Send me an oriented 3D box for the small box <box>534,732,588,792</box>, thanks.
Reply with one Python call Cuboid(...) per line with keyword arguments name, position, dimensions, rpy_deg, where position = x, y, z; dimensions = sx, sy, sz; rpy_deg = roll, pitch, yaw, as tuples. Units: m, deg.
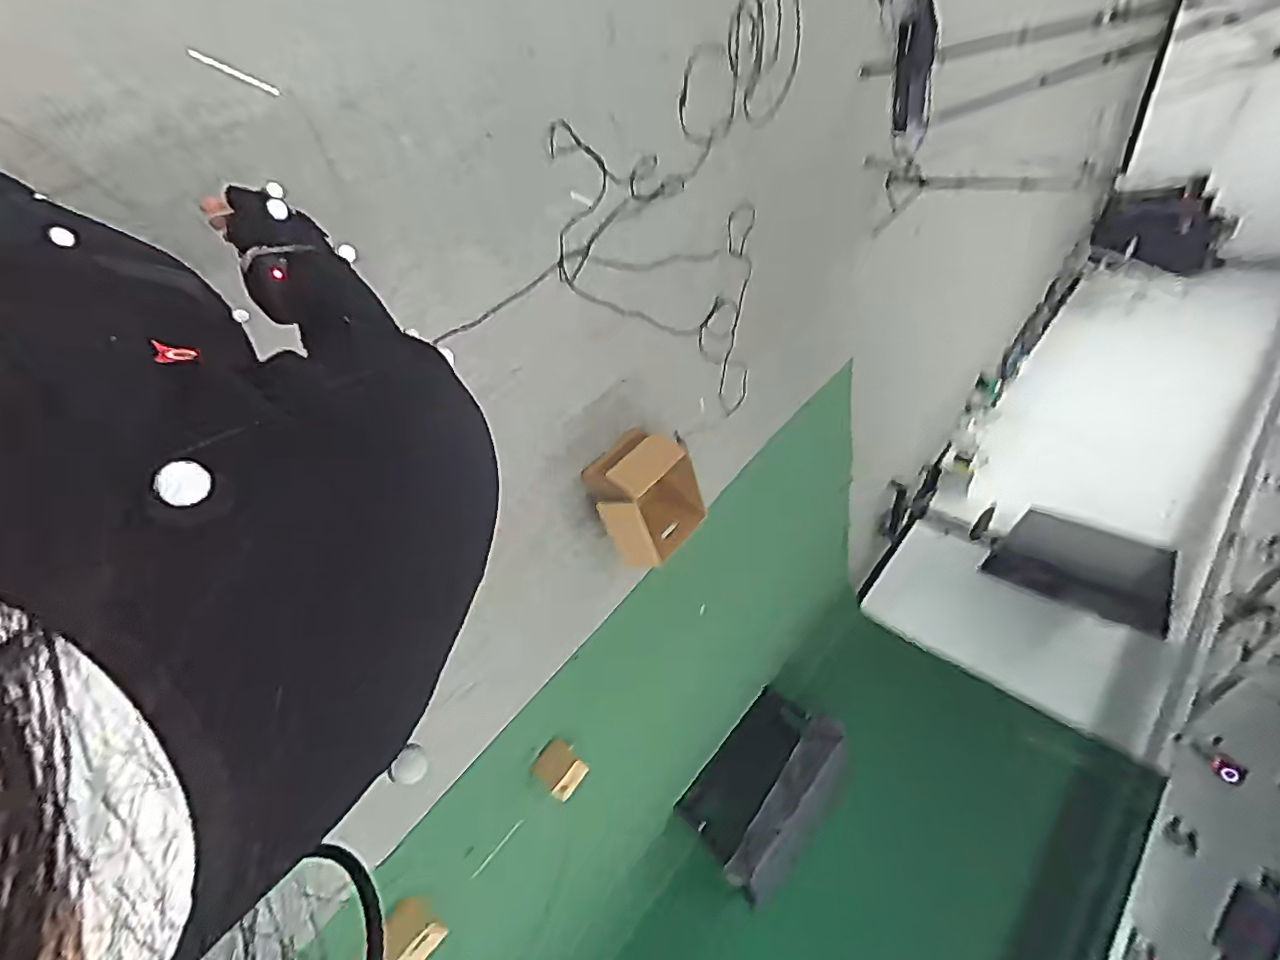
Cuboid(name="small box", position=(-0.393, 1.375, 2.636), dimensions=(0.179, 0.176, 0.168), rpy_deg=(-48, 140, -21))
